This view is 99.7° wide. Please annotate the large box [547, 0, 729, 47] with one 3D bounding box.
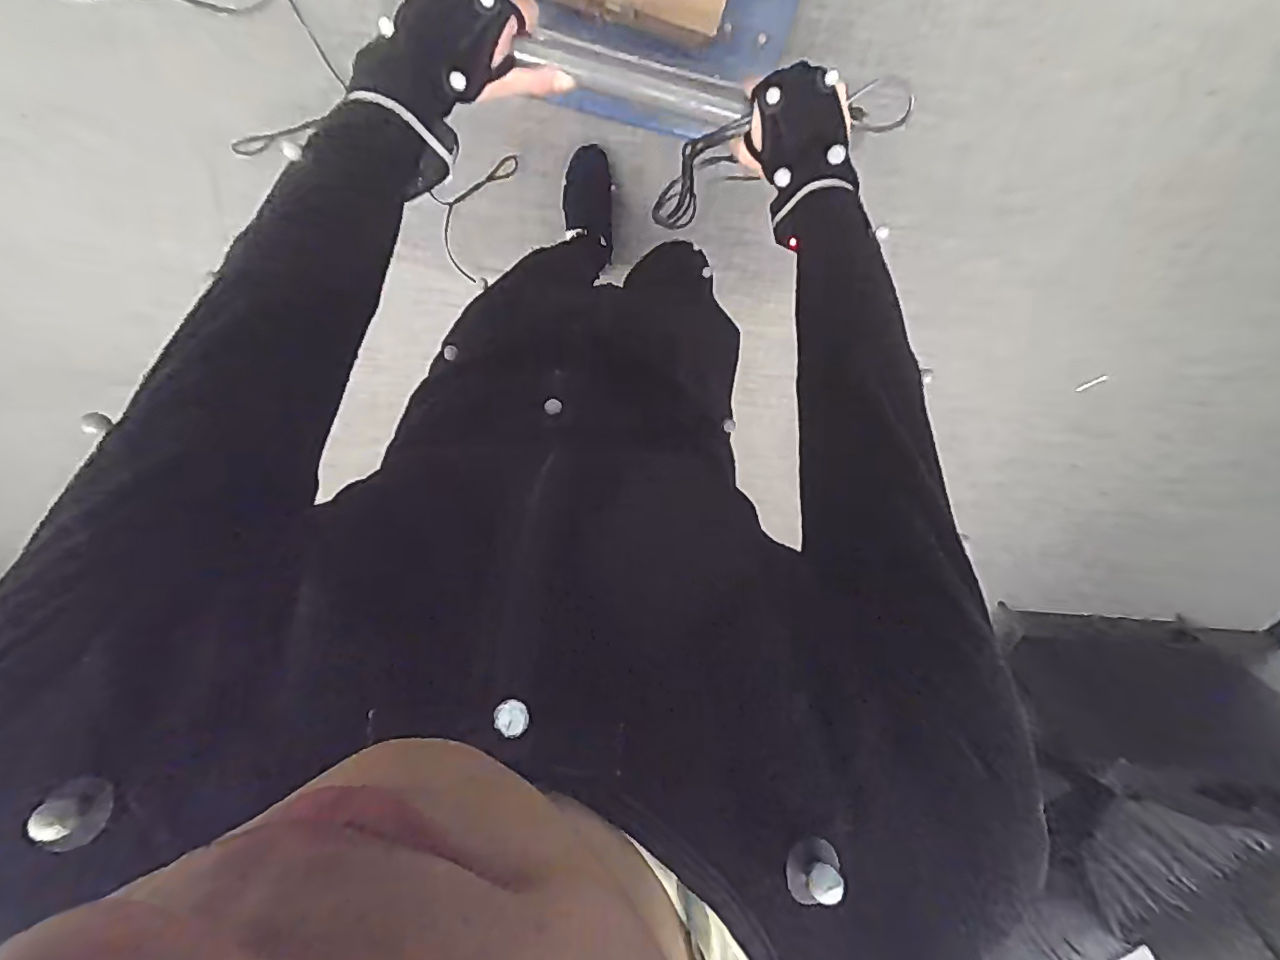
[{"bbox_3d":[0.012,-0.921,0.775,0.320,0.320,0.408,11,124,-11],"label":"large box"}]
